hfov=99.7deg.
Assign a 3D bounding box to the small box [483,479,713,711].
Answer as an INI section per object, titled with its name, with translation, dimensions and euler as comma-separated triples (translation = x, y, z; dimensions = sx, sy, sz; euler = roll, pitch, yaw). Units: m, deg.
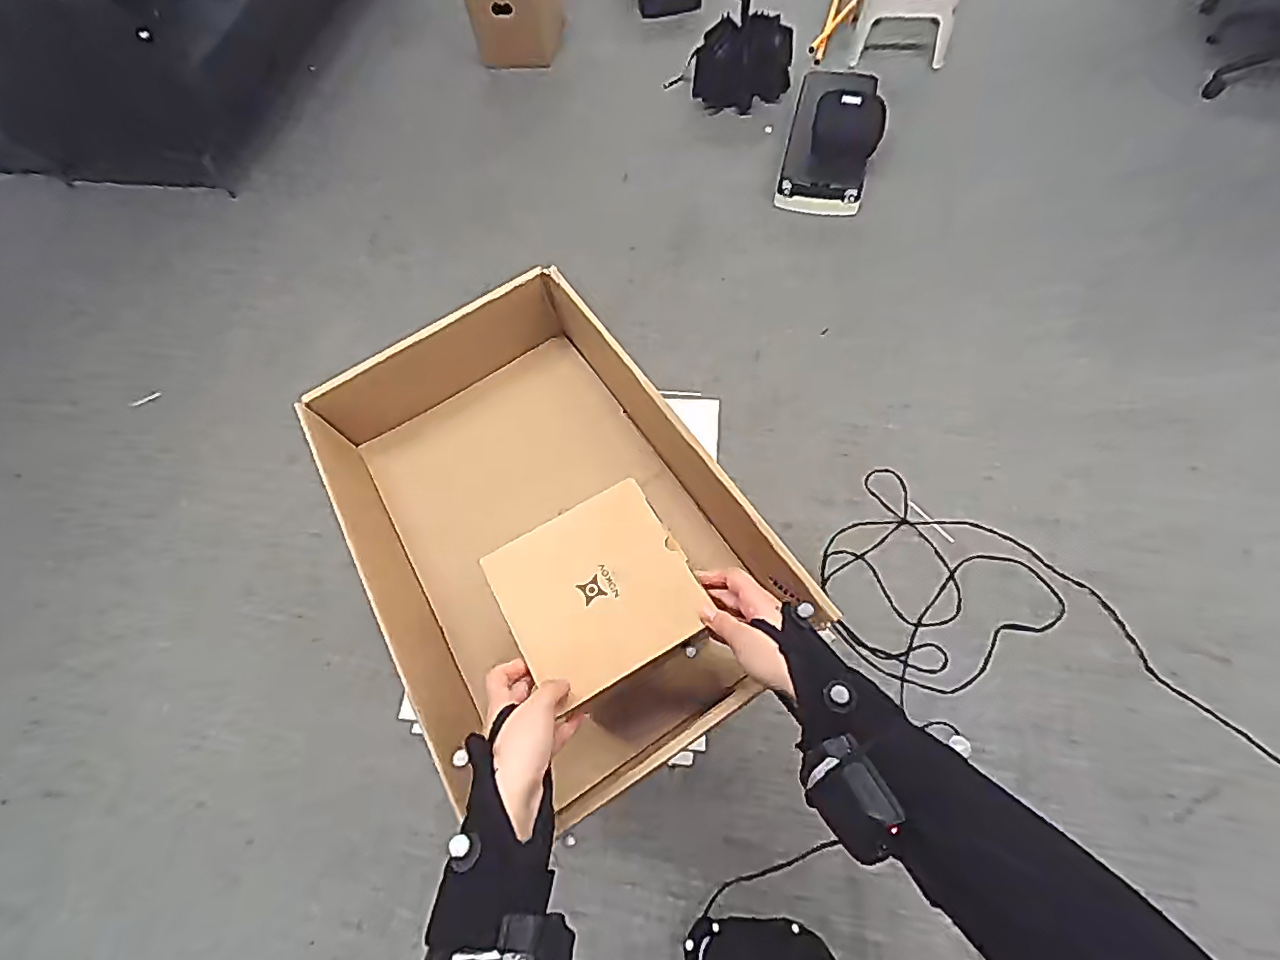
[small box]
translation = -0.038, 0.134, 0.590
dimensions = 0.179, 0.176, 0.168
euler = -29, 68, -9
